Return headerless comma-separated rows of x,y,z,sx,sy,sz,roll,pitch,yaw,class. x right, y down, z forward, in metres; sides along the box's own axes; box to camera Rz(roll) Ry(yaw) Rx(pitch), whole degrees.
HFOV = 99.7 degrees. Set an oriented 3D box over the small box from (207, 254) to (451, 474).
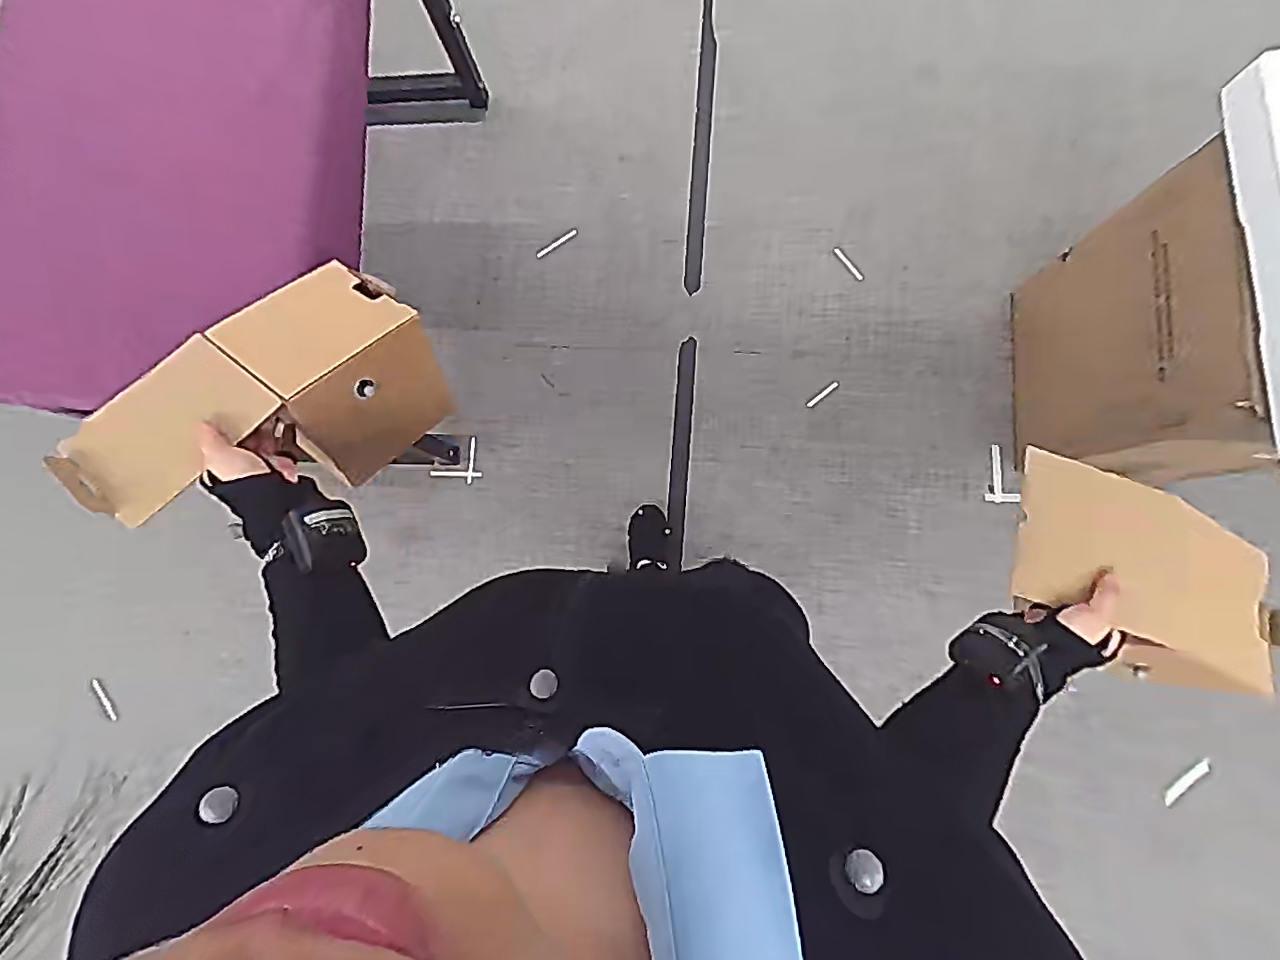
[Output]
-0.369,-0.140,0.678,0.168,0.176,0.179,34,62,18,small box
